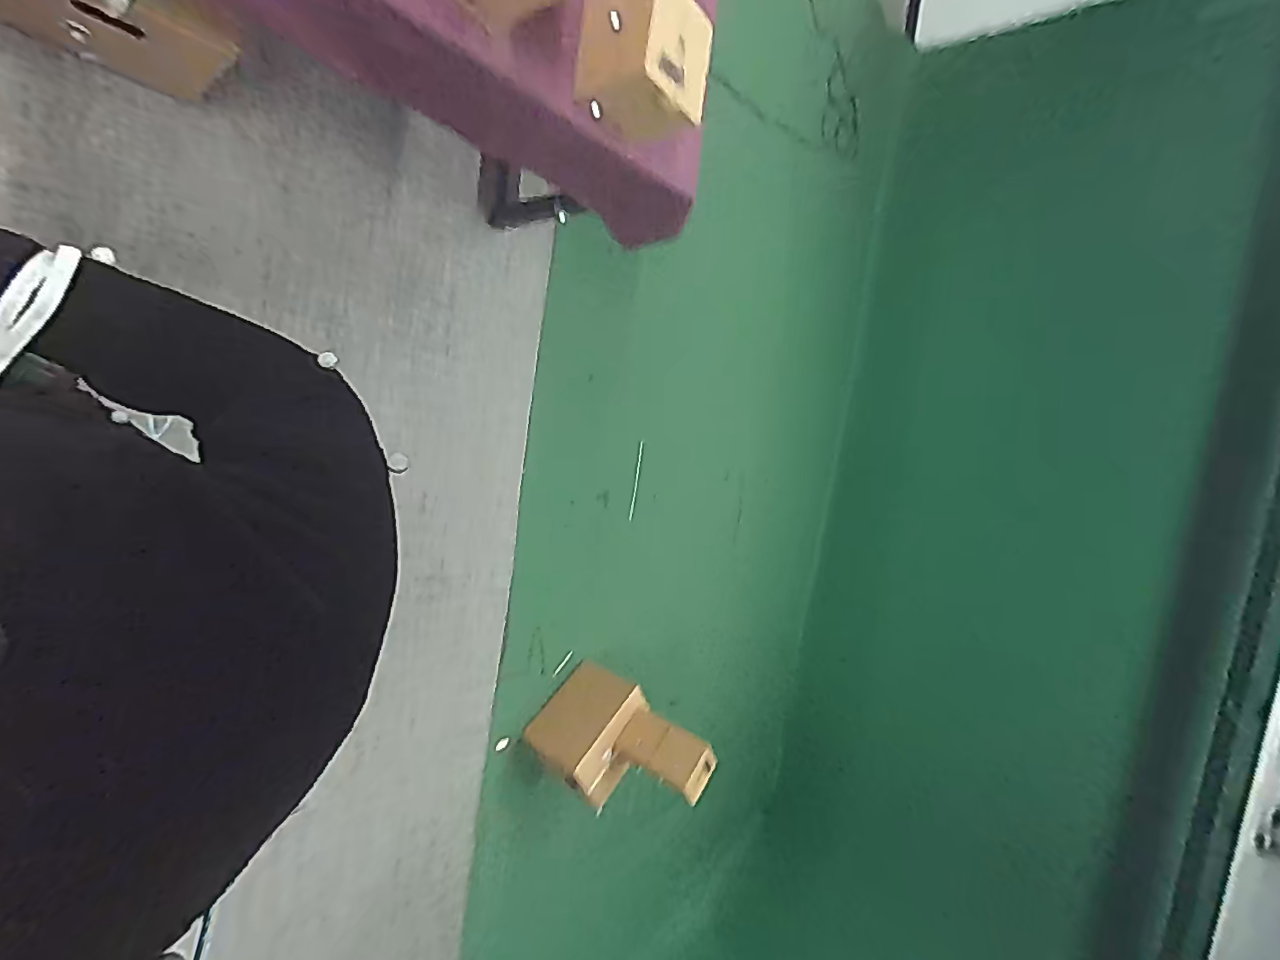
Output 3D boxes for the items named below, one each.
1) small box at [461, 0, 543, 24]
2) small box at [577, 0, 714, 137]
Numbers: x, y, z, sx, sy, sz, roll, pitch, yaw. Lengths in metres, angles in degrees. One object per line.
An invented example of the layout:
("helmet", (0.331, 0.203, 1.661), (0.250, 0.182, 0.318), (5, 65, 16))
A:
("small box", (-0.194, -0.768, 0.711), (0.168, 0.176, 0.179), (10, 93, -52))
("small box", (0.006, -0.751, 0.962), (0.168, 0.176, 0.179), (2, 97, -51))
